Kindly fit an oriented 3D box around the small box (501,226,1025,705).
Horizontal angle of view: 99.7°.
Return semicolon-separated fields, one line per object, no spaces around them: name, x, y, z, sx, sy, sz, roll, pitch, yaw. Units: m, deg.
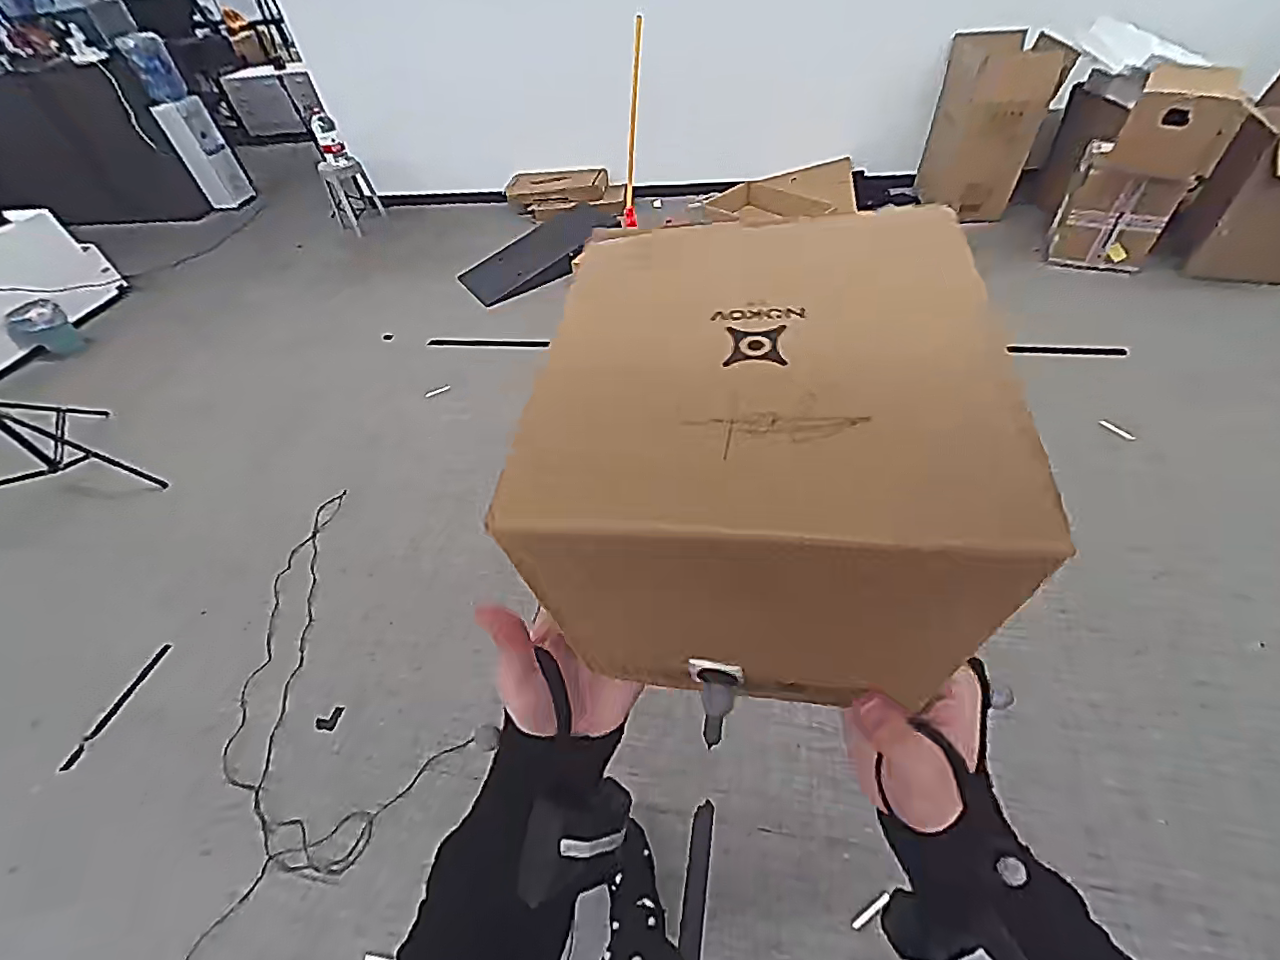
small box;0.053;0.000;0.281;0.168;0.176;0.179;-1;55;12
